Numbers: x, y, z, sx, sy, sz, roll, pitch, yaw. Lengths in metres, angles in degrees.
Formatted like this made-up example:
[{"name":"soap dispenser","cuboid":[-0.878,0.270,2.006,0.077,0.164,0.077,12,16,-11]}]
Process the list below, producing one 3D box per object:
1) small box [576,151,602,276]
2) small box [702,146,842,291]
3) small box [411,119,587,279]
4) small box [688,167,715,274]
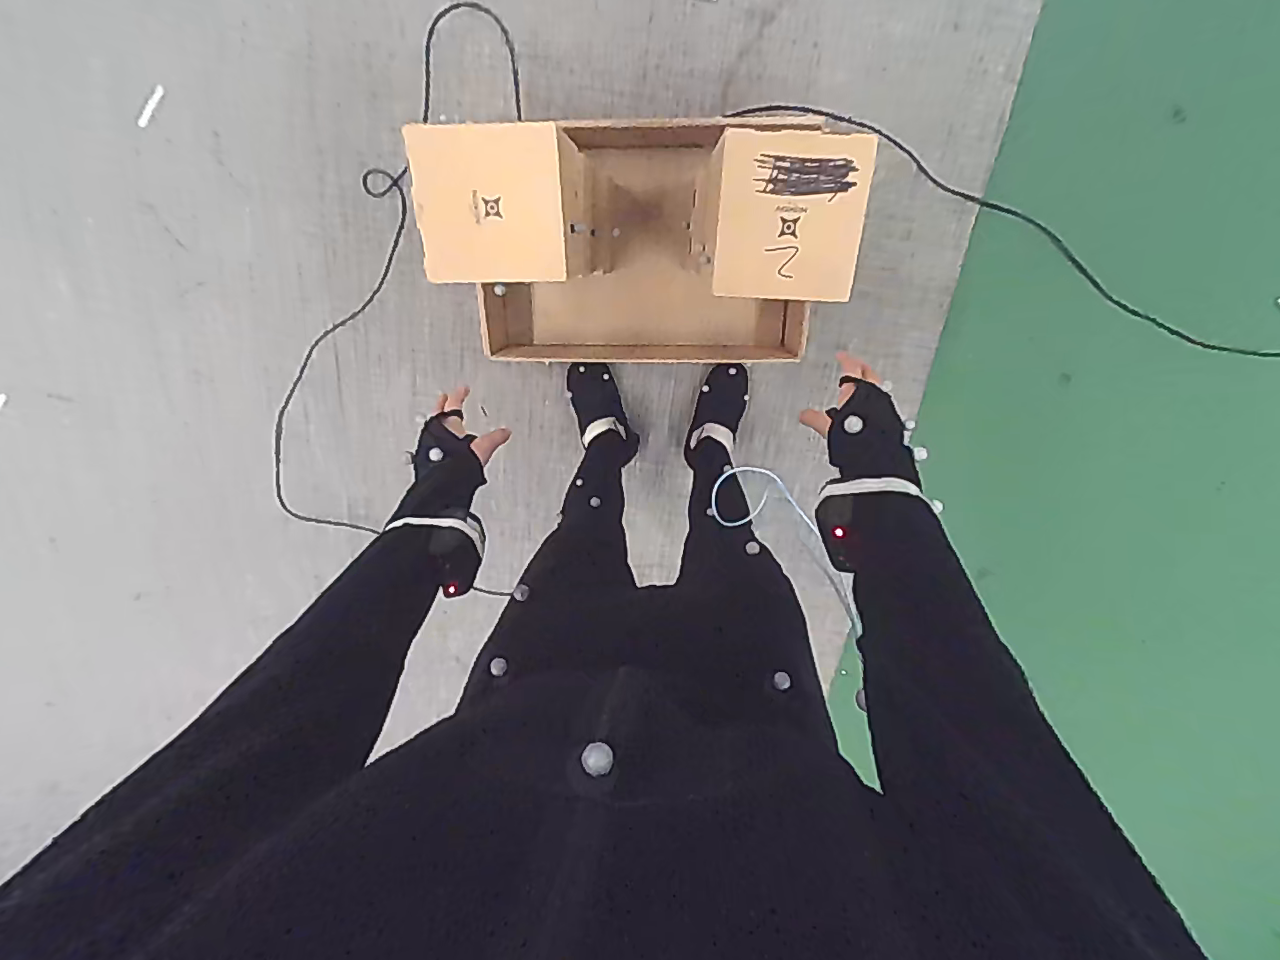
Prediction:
[{"name":"small box","cuboid":[-0.158,-0.416,0.847,0.179,0.176,0.168,5,114,-1]},{"name":"small box","cuboid":[0.191,-0.396,0.838,0.168,0.176,0.179,5,112,0]},{"name":"small box","cuboid":[-0.164,-0.354,0.697,0.179,0.176,0.168,1,114,3]},{"name":"small box","cuboid":[0.183,-0.460,0.990,0.179,0.176,0.168,6,112,1]}]
